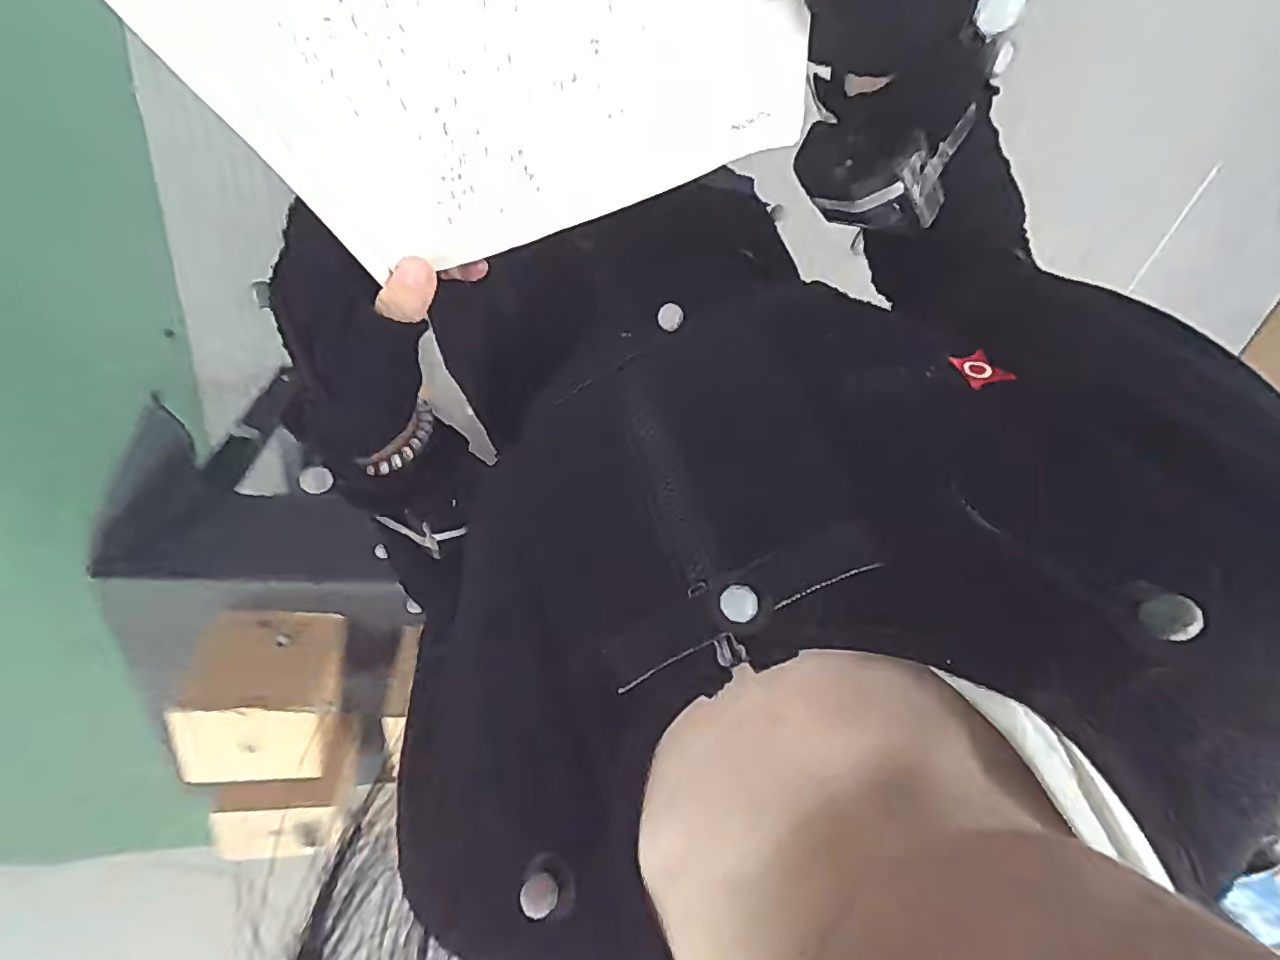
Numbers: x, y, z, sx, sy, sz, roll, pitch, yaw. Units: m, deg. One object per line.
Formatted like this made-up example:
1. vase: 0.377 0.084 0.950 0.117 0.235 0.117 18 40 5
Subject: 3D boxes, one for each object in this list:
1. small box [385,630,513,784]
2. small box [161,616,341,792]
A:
1. small box: -0.300 0.358 0.874 0.179 0.176 0.168 2 125 -15
2. small box: -0.545 0.322 0.787 0.168 0.176 0.179 7 123 -19
